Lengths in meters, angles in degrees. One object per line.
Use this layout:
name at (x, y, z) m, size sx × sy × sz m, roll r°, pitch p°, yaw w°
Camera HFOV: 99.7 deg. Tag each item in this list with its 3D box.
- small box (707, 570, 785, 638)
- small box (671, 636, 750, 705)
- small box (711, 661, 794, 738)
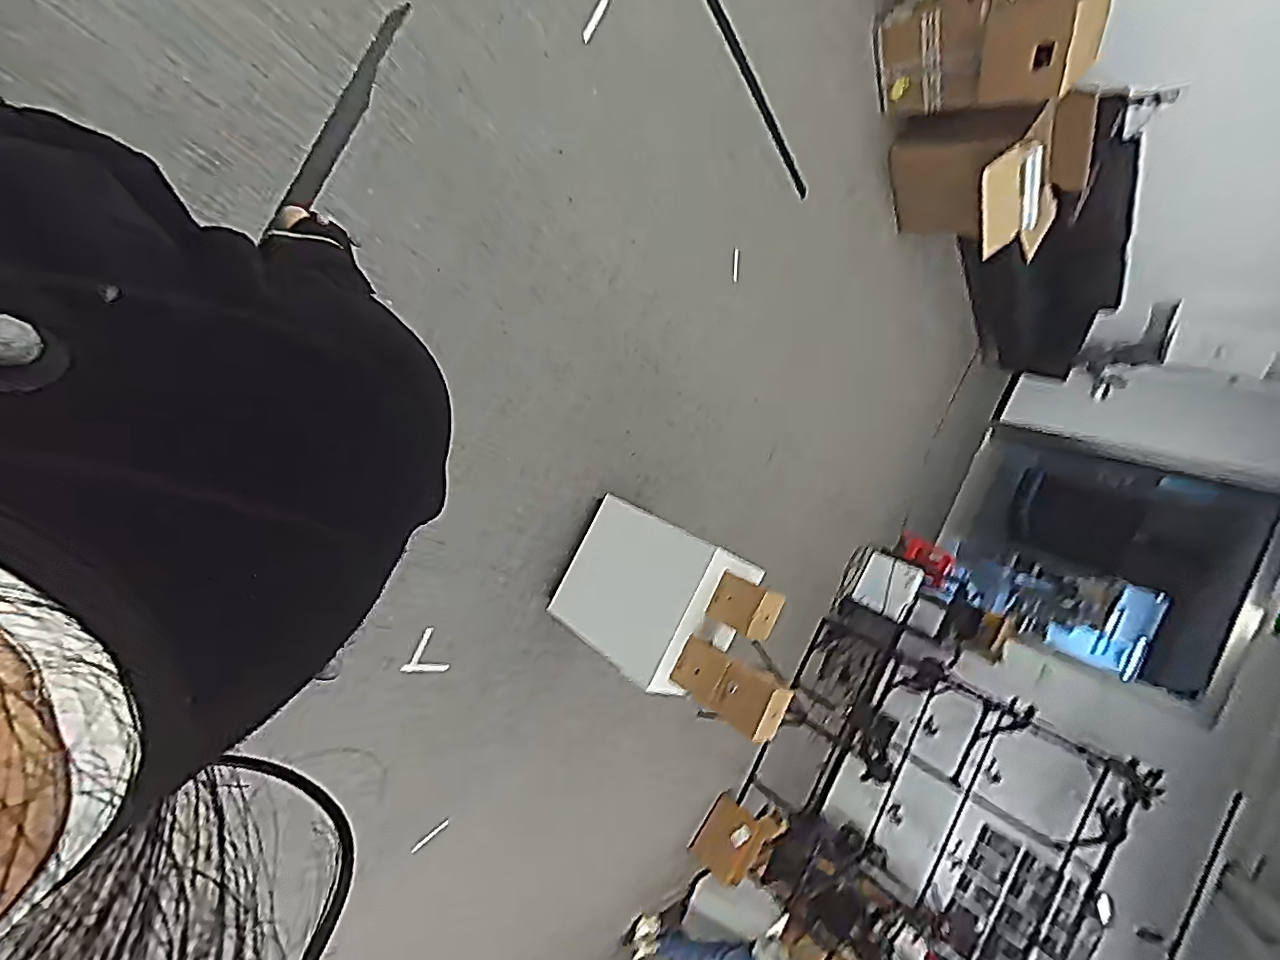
small box at (0.360, 0.421, 1.848) m, size 0.179 × 0.176 × 0.168 m, roll 27°, pitch 87°, yaw -49°
small box at (0.234, 0.641, 1.816) m, size 0.179 × 0.176 × 0.168 m, roll 32°, pitch 82°, yaw -48°
small box at (0.356, 0.694, 1.719) m, size 0.179 × 0.176 × 0.168 m, roll 30°, pitch 83°, yaw -49°
